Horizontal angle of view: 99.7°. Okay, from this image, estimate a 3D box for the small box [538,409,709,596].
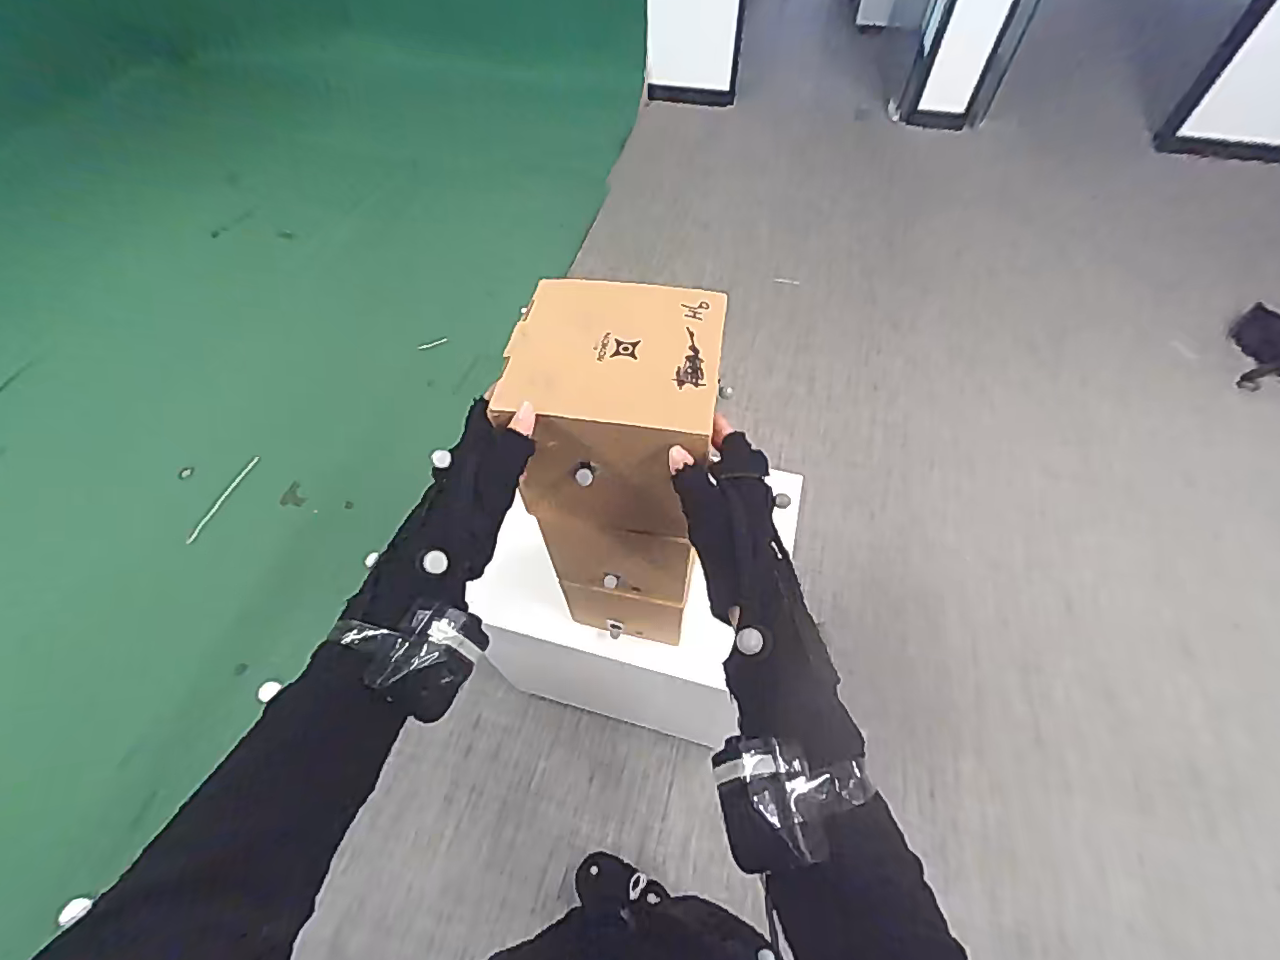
[{"bbox_3d":[-0.013,0.017,0.651,0.168,0.176,0.179,7,56,7],"label":"small box"}]

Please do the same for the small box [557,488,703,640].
[{"bbox_3d":[-0.007,0.111,0.785,0.168,0.176,0.179,9,59,9],"label":"small box"}]

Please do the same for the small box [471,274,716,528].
[{"bbox_3d":[-0.028,-0.069,0.512,0.179,0.176,0.168,7,58,7],"label":"small box"}]
